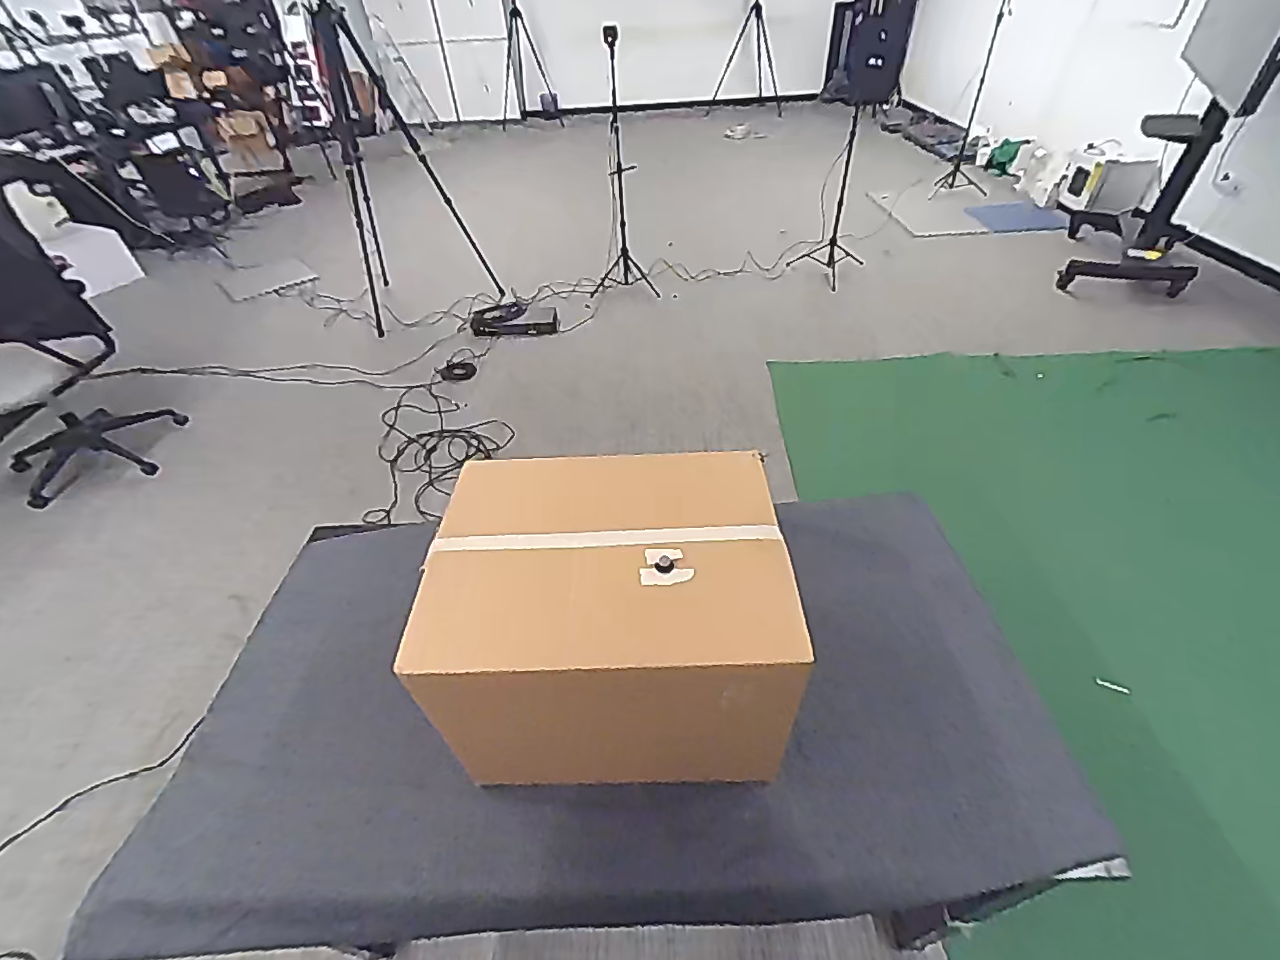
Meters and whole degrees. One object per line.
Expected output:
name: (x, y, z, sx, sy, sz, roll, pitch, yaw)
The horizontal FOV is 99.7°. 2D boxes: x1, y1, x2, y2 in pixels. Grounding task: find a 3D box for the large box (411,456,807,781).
large box: (-0.031, 0.188, 0.740, 0.408, 0.320, 0.320, -2, 43, 1)
